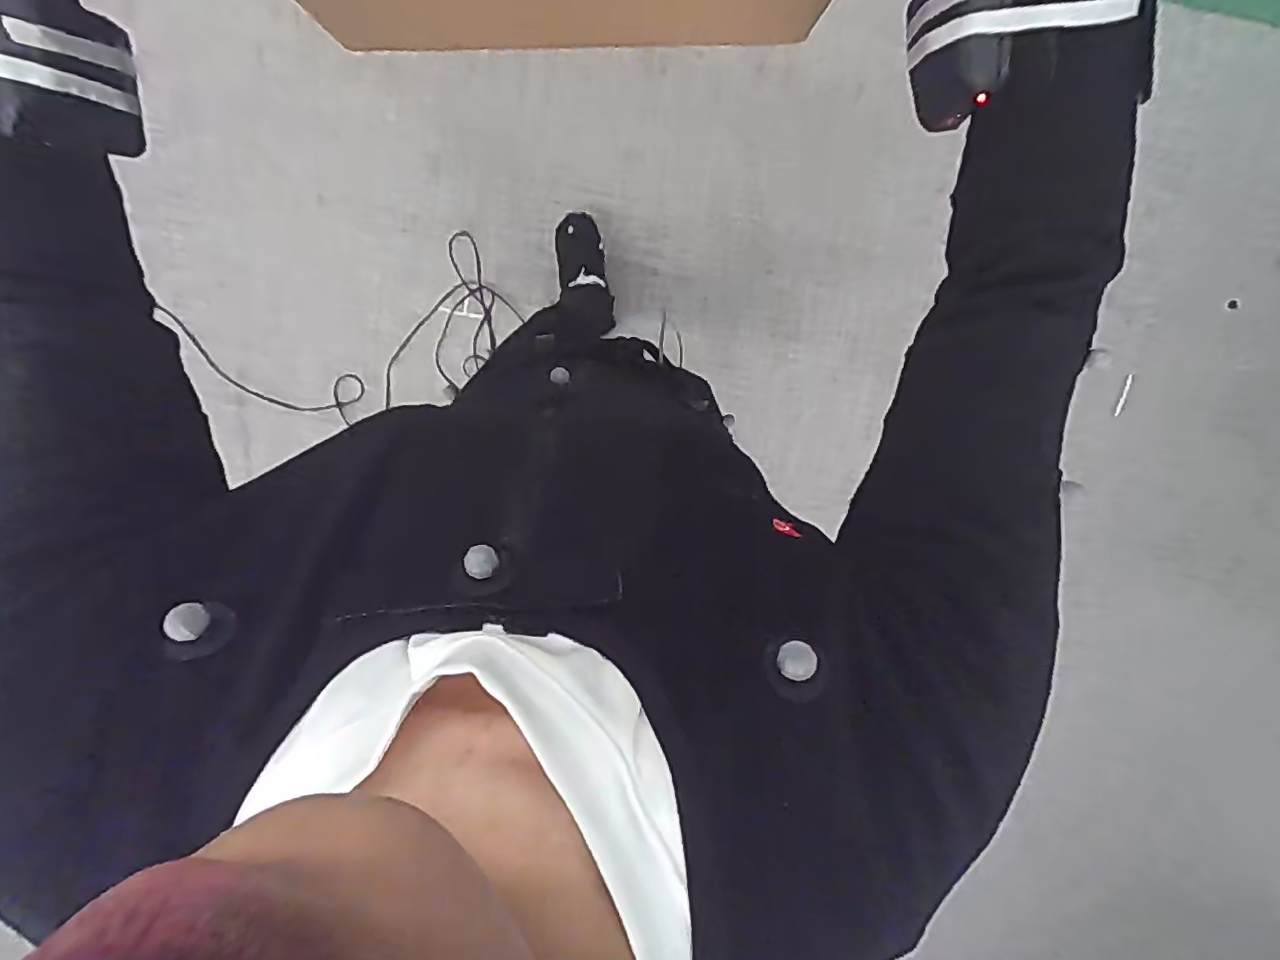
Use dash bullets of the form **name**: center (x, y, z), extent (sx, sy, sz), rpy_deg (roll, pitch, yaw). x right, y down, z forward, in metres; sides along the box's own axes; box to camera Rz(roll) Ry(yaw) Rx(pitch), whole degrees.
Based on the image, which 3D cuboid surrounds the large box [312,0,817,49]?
- **large box**: center (-0.054, -0.489, 0.292), extent (0.408, 0.320, 0.320), rpy_deg (-3, 108, -2)
